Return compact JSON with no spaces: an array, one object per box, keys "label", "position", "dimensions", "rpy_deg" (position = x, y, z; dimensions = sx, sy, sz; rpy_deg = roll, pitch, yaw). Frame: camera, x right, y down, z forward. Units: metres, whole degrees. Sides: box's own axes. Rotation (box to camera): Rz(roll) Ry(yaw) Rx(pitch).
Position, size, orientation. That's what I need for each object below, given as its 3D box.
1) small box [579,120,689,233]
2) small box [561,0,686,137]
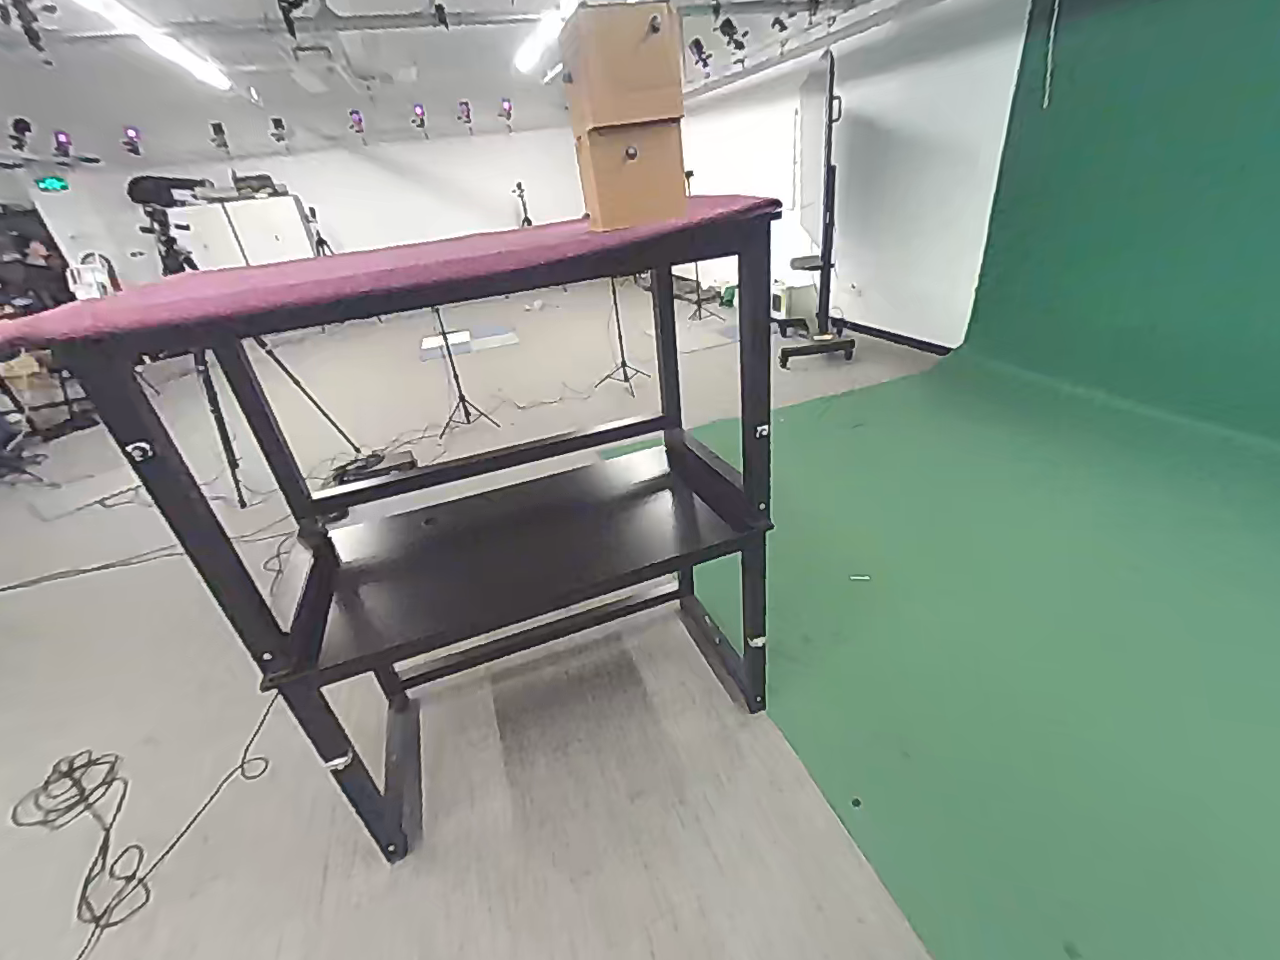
[{"label":"small box","position":[-0.012,-0.591,1.067],"dimensions":[0.179,0.176,0.168],"rpy_deg":[-12,28,-9]},{"label":"small box","position":[-0.029,-0.726,0.978],"dimensions":[0.179,0.176,0.168],"rpy_deg":[-15,29,-13]}]
